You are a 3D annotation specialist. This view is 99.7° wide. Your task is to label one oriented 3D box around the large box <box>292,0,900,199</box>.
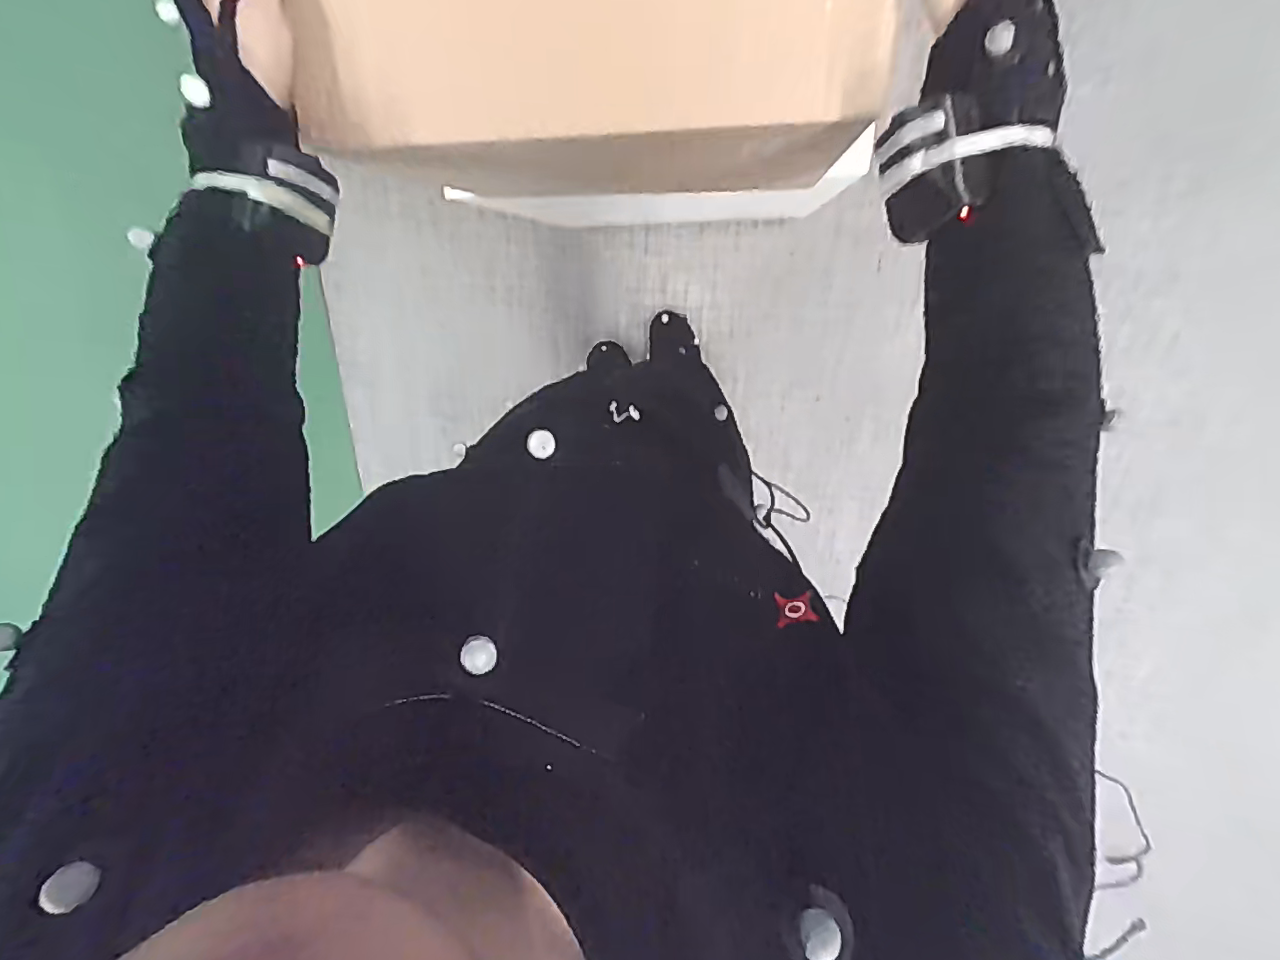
[{"bbox_3d":[-0.023,-0.438,0.456,0.408,0.320,0.320,2,112,8],"label":"large box"}]
